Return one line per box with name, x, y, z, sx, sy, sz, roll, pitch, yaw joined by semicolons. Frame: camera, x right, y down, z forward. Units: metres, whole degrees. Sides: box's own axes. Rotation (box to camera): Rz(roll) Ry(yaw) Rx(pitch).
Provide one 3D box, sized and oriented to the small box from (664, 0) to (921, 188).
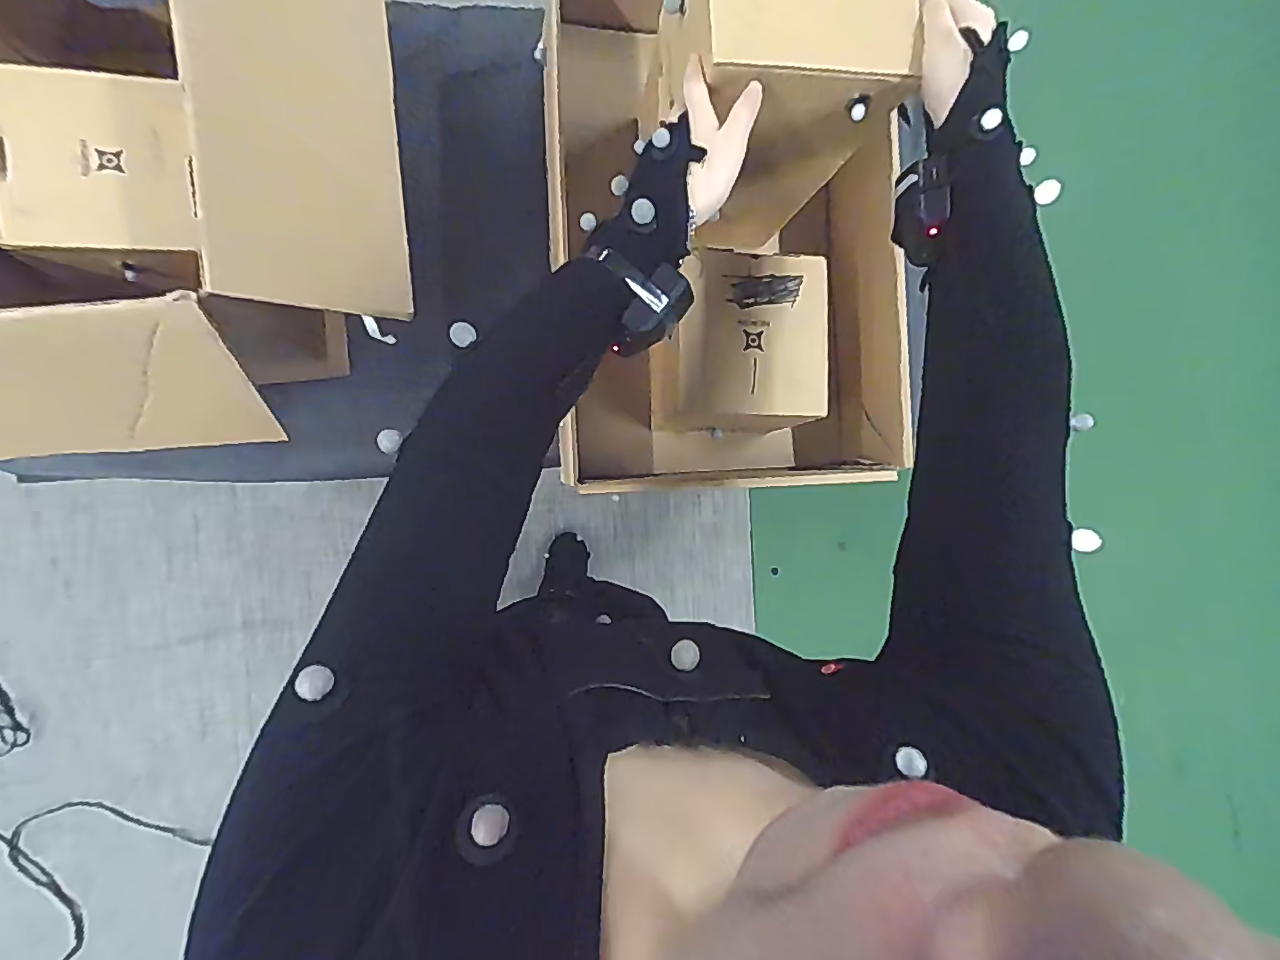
small box;0.120;-0.389;0.492;0.179;0.176;0.168;-4;92;-9
